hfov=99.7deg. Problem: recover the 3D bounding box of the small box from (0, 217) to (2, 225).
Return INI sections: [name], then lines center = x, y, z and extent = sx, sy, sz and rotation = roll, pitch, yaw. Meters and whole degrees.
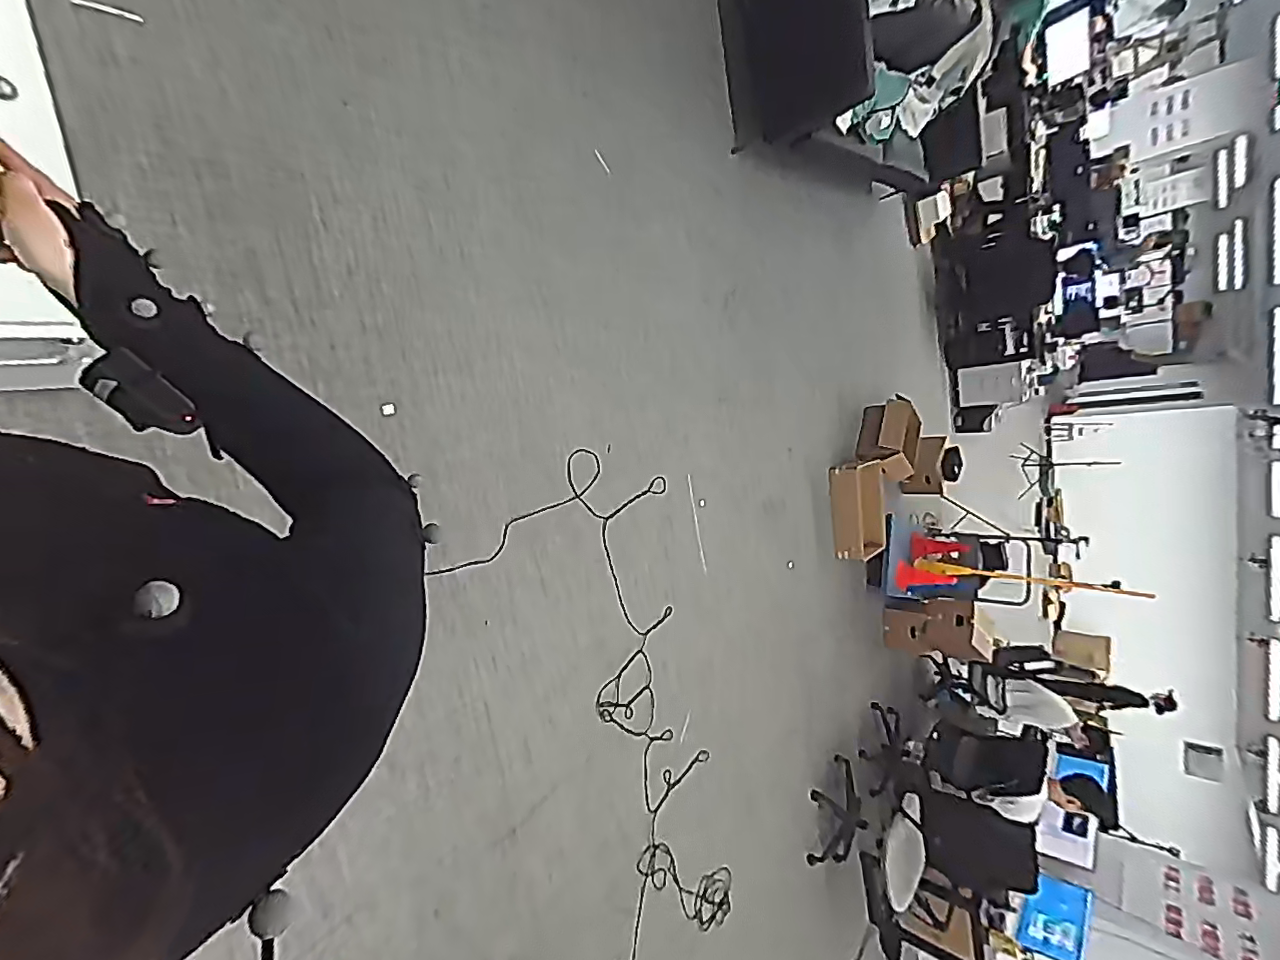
[small box]
center = -0.471, -0.235, 0.272
extent = 0.179, 0.176, 0.168
rotation = -9, 104, -47
